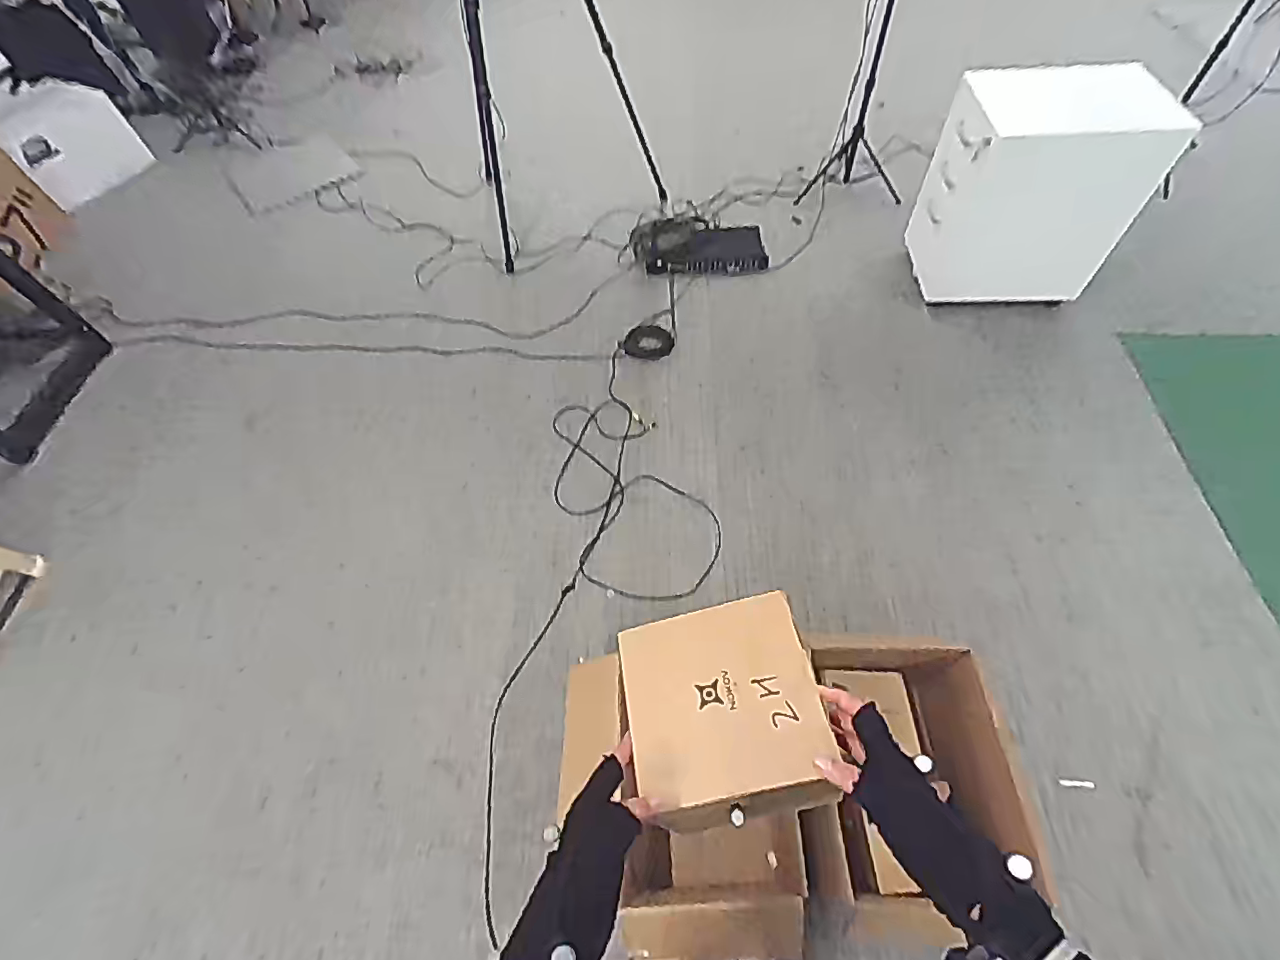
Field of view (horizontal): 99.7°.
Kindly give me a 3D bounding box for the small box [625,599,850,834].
[{"bbox_3d":[0.100,0.249,0.555,0.179,0.176,0.168,-17,51,7],"label":"small box"}]
